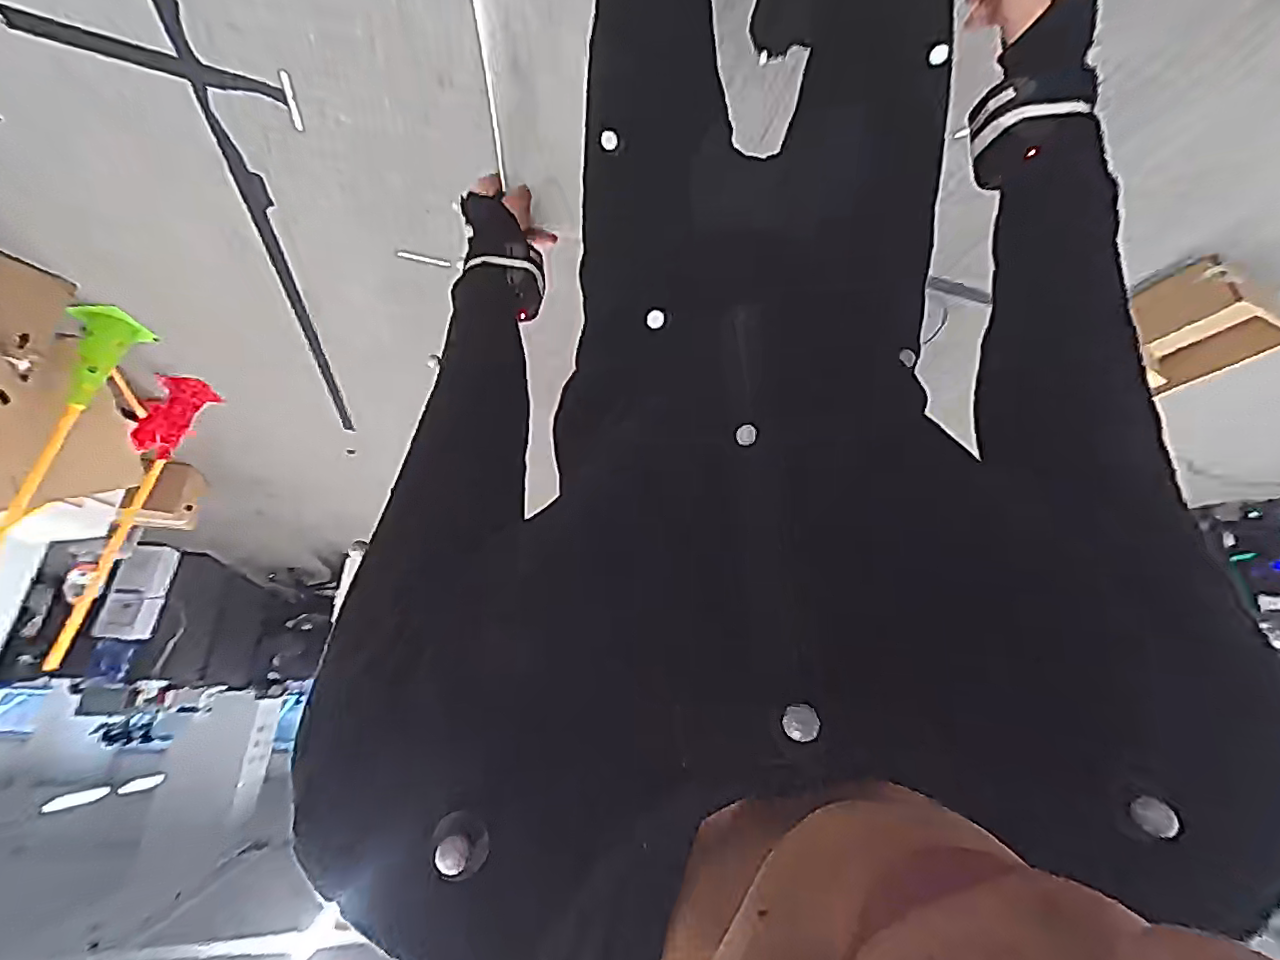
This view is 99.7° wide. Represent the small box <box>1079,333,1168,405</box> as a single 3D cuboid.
[{"bbox_3d":[1.715,-0.396,1.925,0.179,0.176,0.168,14,153,-27],"label":"small box"}]
